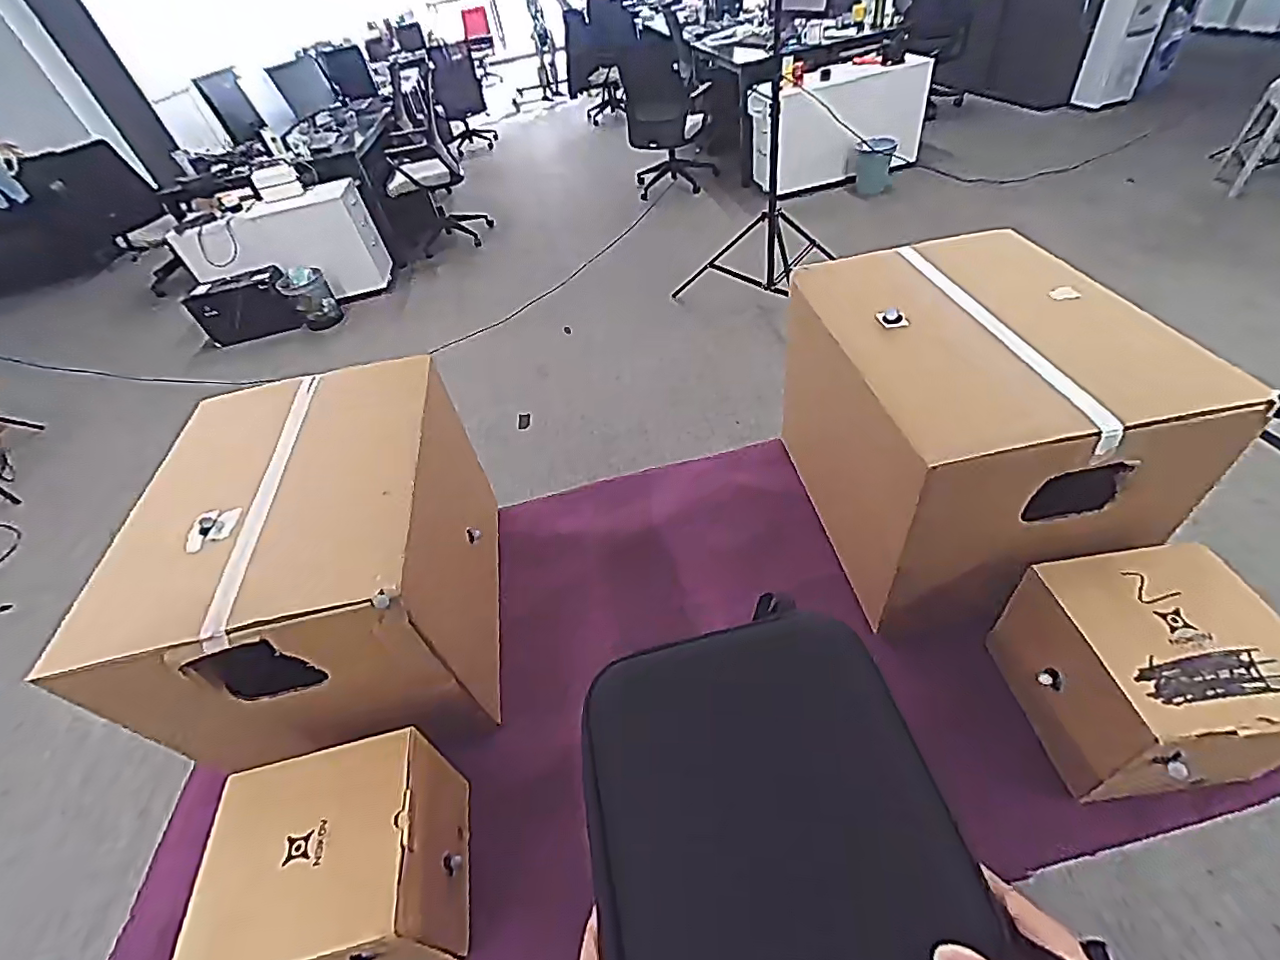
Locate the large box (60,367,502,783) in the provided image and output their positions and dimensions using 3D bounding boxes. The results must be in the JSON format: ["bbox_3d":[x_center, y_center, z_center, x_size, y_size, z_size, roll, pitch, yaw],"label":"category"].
[{"bbox_3d":[-0.381,0.113,0.716,0.320,0.320,0.408,-14,47,-3],"label":"large box"}]
